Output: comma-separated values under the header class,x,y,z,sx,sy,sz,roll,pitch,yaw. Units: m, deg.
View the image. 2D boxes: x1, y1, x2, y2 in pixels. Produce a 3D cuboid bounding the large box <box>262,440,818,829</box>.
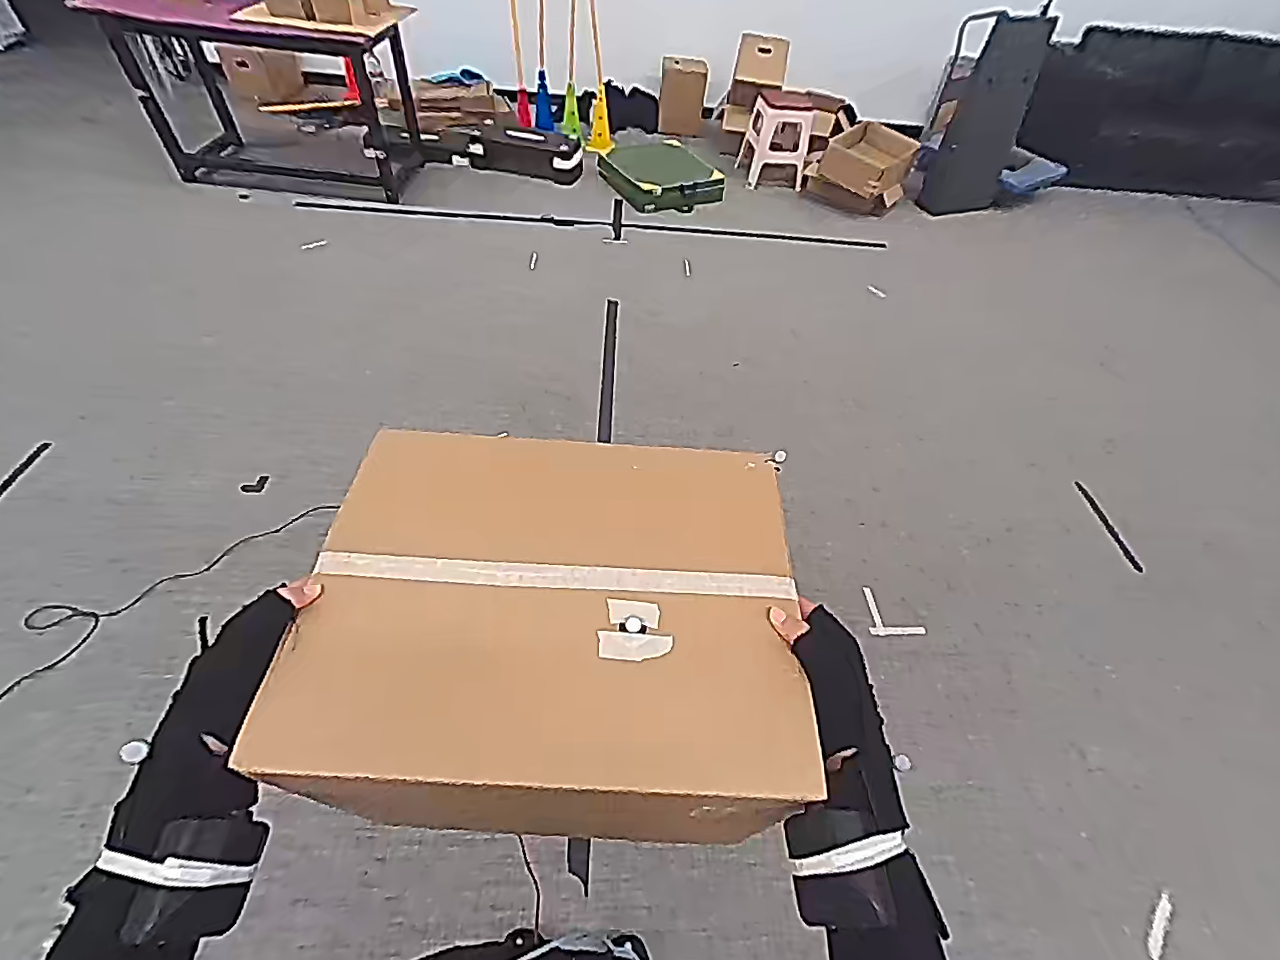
class,x,y,z,sx,sy,sz,roll,pitch,yaw
large box,-0.074,0.180,0.589,0.408,0.320,0.320,4,53,-2
